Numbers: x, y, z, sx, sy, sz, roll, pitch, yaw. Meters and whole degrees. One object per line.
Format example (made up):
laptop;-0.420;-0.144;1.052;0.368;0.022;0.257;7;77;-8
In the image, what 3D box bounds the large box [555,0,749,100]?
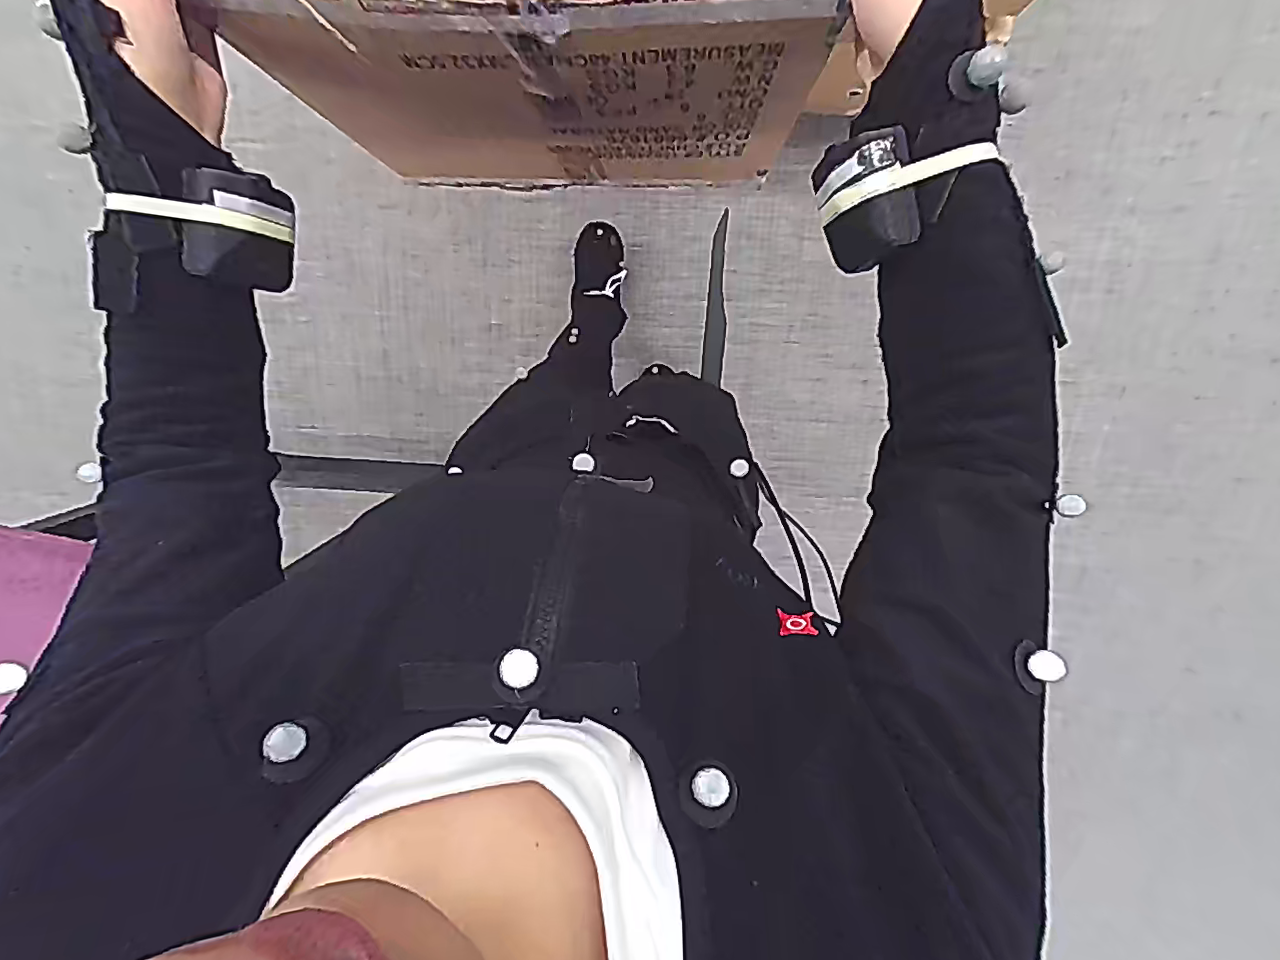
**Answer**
large box;0.026;-0.954;0.948;0.320;0.320;0.408;3;107;4
